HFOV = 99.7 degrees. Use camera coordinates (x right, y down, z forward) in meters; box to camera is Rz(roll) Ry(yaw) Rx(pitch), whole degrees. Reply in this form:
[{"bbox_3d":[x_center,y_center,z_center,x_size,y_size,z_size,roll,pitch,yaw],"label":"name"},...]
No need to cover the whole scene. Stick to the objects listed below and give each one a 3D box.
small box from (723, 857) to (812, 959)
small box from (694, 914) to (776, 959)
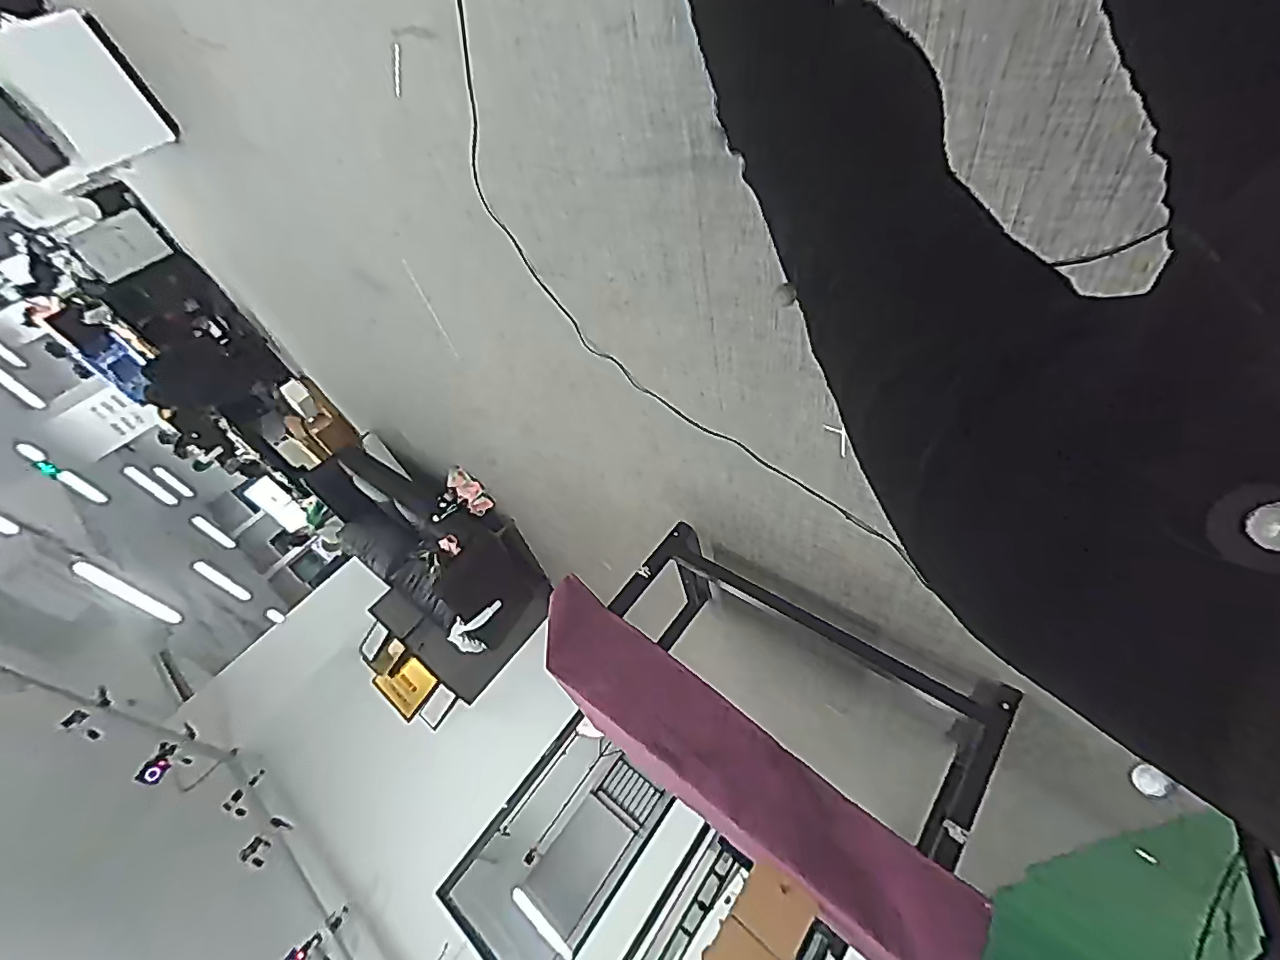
[{"bbox_3d":[0.357,1.185,1.500,0.179,0.176,0.168,25,149,35],"label":"small box"},{"bbox_3d":[0.254,1.293,1.431,0.179,0.176,0.168,24,149,34],"label":"small box"}]
